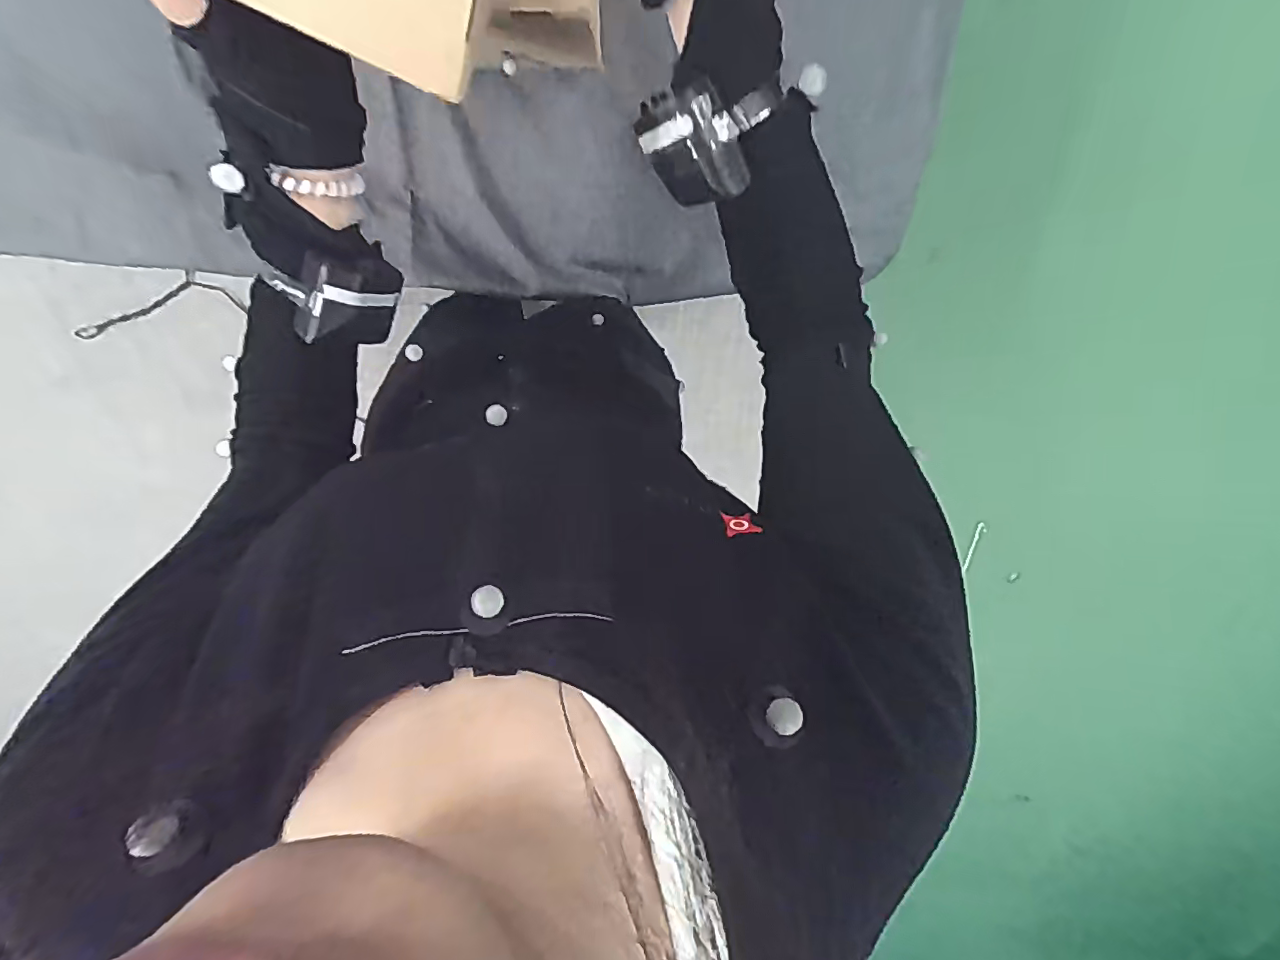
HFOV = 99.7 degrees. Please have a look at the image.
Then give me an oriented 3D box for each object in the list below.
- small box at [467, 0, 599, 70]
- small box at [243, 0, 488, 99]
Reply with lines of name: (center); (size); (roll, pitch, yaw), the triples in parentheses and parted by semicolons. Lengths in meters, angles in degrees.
small box: (-0.120, -0.461, 0.438); (0.168, 0.176, 0.179); (-1, 117, -1)
small box: (-0.130, -0.316, 0.216); (0.179, 0.176, 0.168); (14, 151, -25)
